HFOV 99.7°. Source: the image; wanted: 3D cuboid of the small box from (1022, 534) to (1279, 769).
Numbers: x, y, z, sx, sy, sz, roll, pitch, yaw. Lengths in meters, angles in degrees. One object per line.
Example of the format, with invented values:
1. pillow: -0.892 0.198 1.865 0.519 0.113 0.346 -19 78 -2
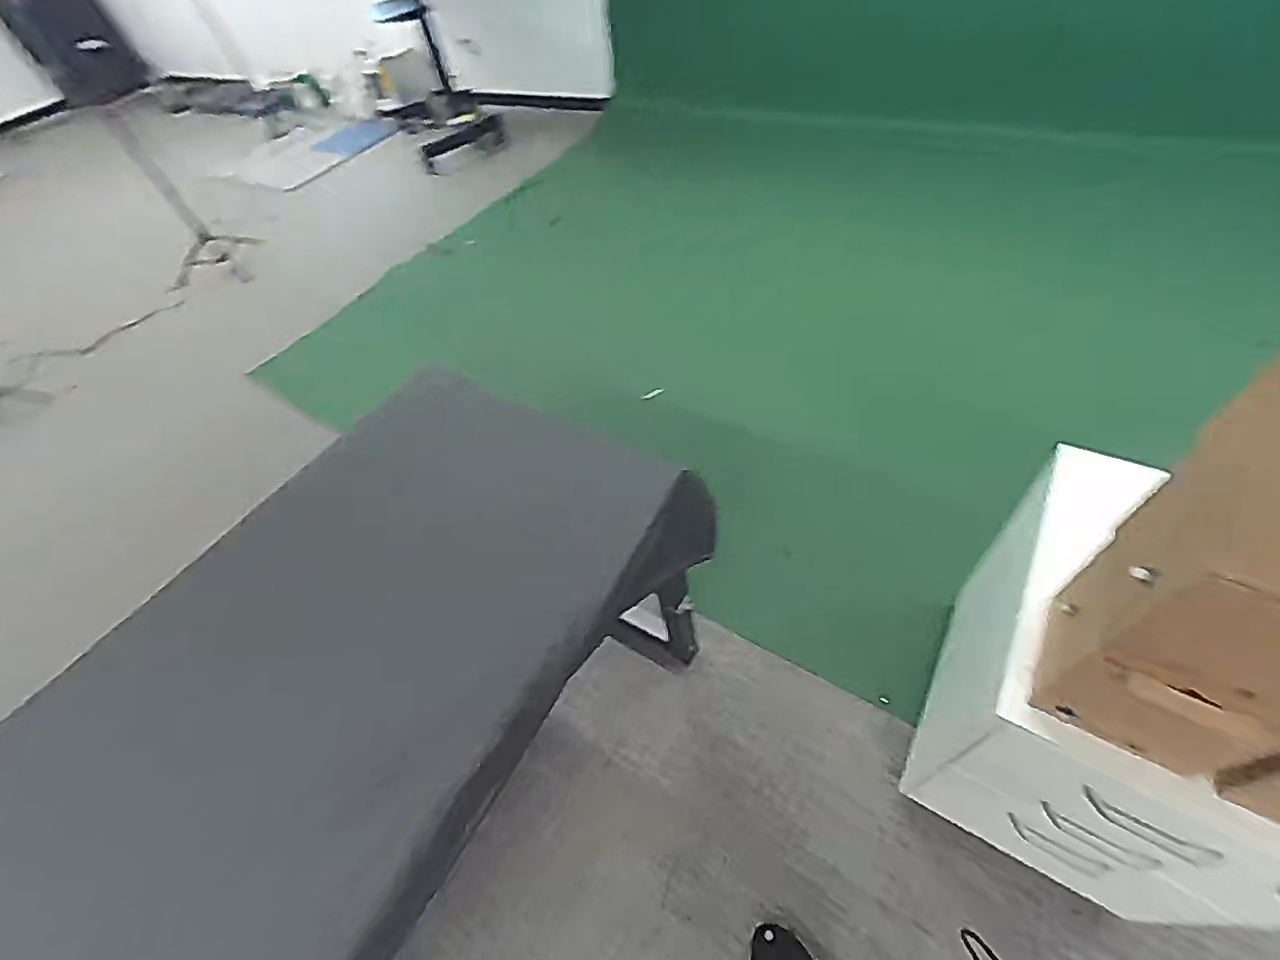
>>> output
1. small box: 0.581 0.202 0.631 0.168 0.176 0.179 23 58 24
